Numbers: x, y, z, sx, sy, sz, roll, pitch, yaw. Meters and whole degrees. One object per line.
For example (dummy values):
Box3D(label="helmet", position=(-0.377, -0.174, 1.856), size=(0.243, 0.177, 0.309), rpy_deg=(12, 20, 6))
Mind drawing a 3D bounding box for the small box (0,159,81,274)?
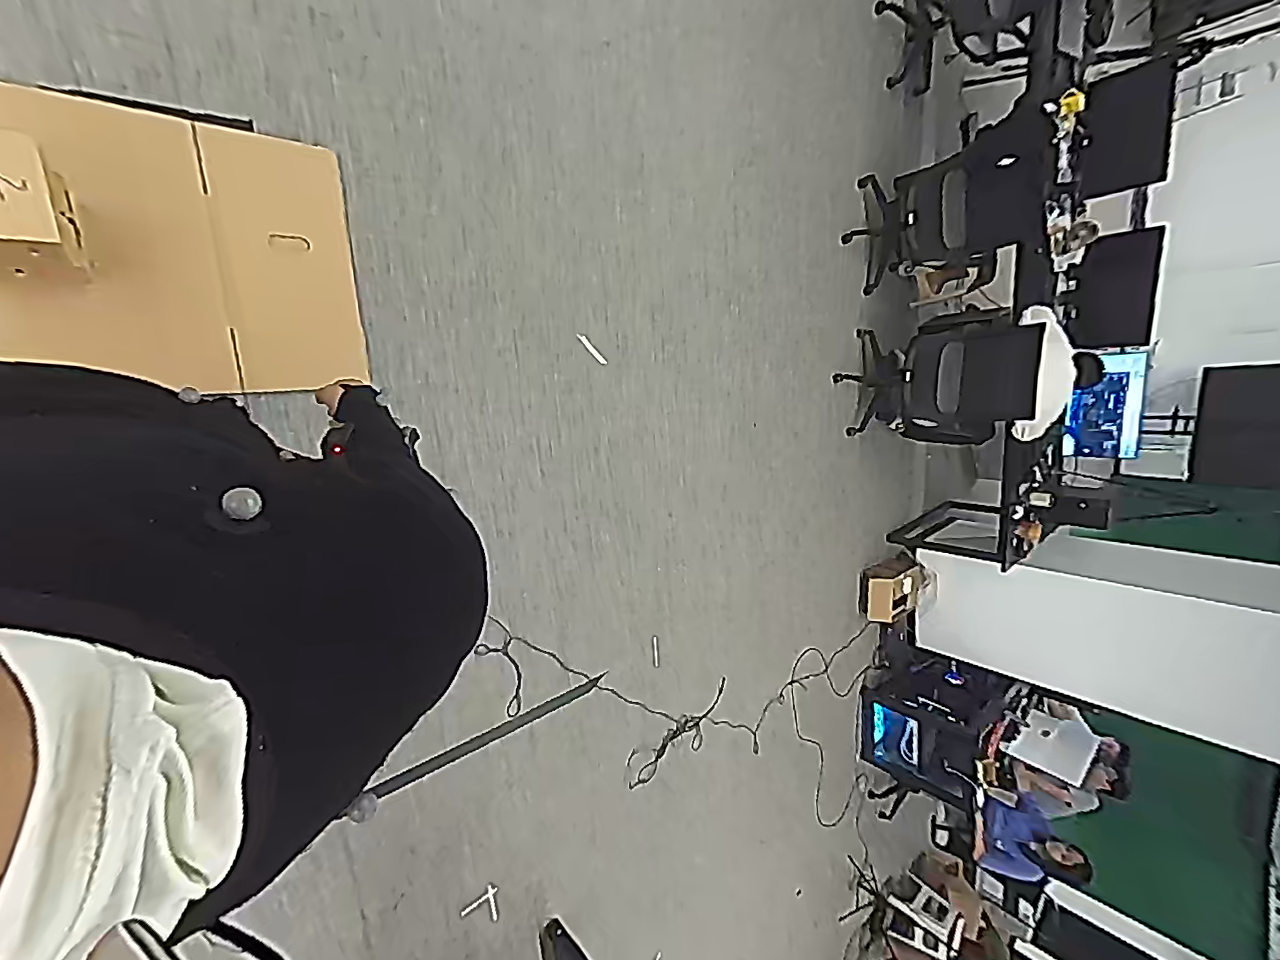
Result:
Box3D(label="small box", position=(-1.176, -0.485, 1.000), size=(0.179, 0.176, 0.168), rpy_deg=(-12, 104, -39))
